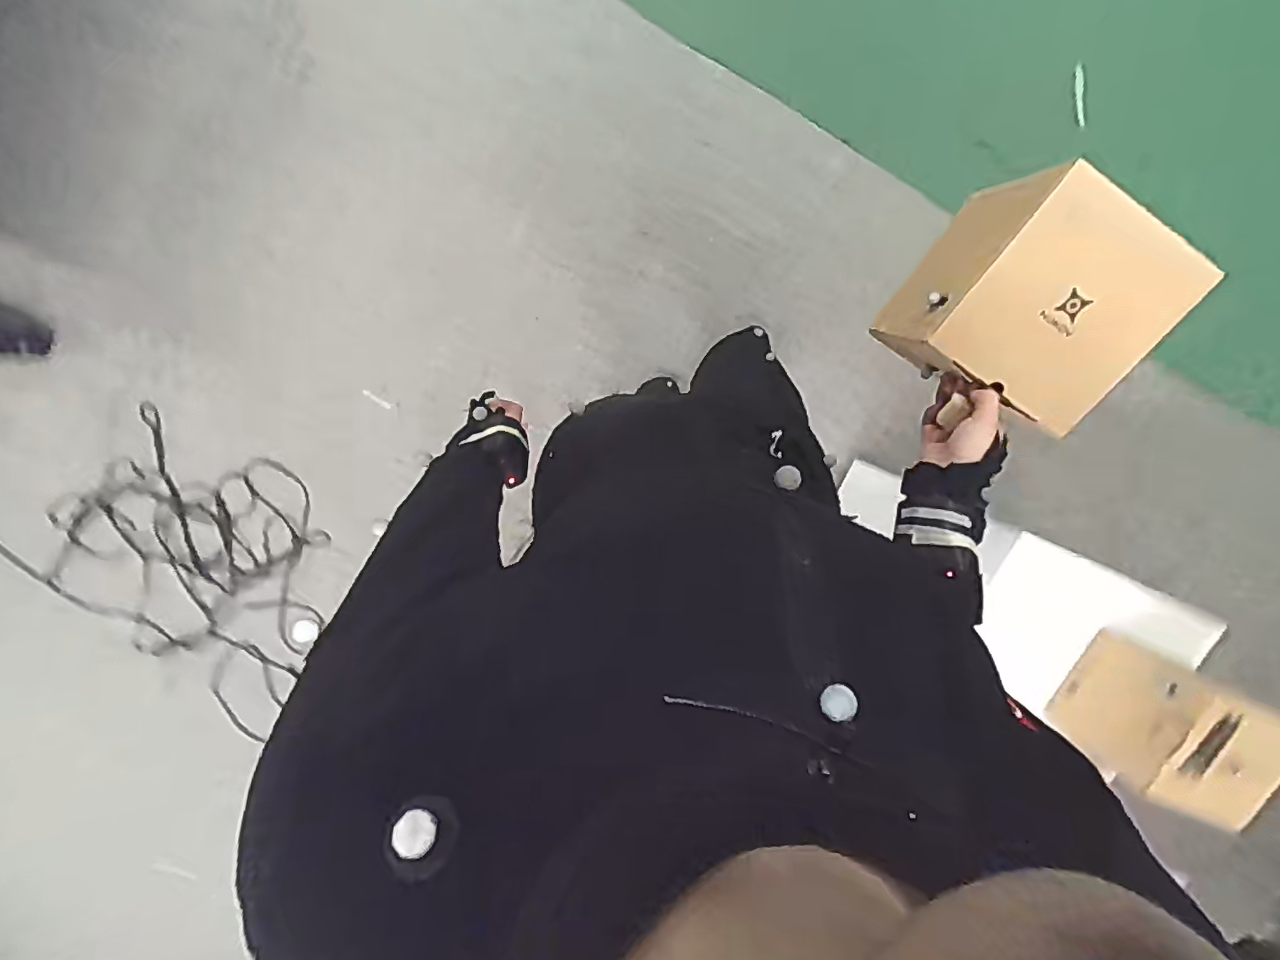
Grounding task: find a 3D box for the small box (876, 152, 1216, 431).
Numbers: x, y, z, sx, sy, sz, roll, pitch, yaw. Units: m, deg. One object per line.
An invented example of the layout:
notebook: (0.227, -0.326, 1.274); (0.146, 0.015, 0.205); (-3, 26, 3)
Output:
small box: (0.373, -0.181, 0.540); (0.168, 0.176, 0.179); (31, 110, -7)
